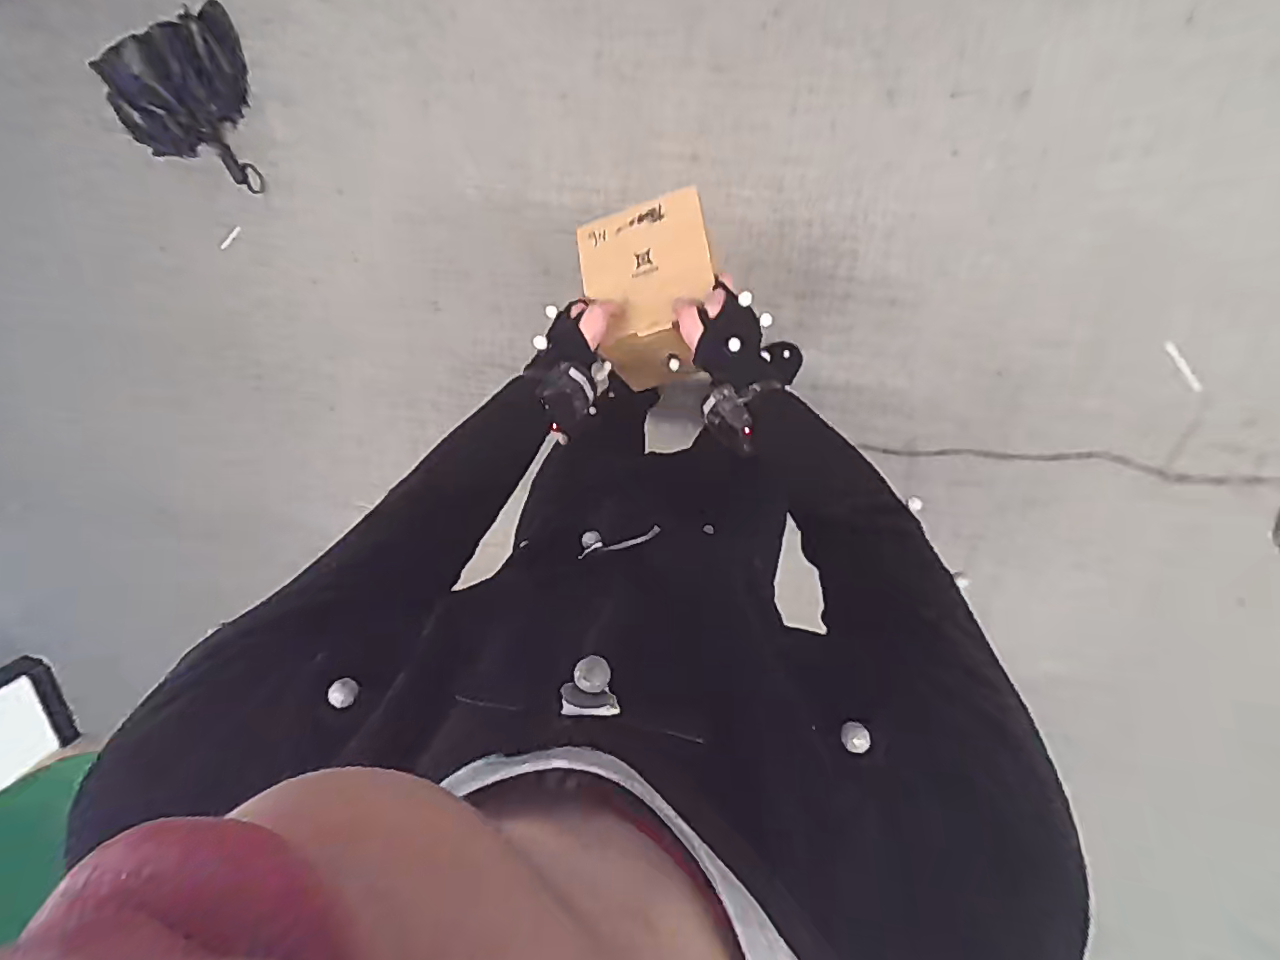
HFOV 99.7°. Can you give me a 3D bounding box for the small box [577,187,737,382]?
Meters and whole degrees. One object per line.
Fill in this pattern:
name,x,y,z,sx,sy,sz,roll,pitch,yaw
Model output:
small box,0.030,-0.249,0.743,0.168,0.176,0.179,-13,75,16
